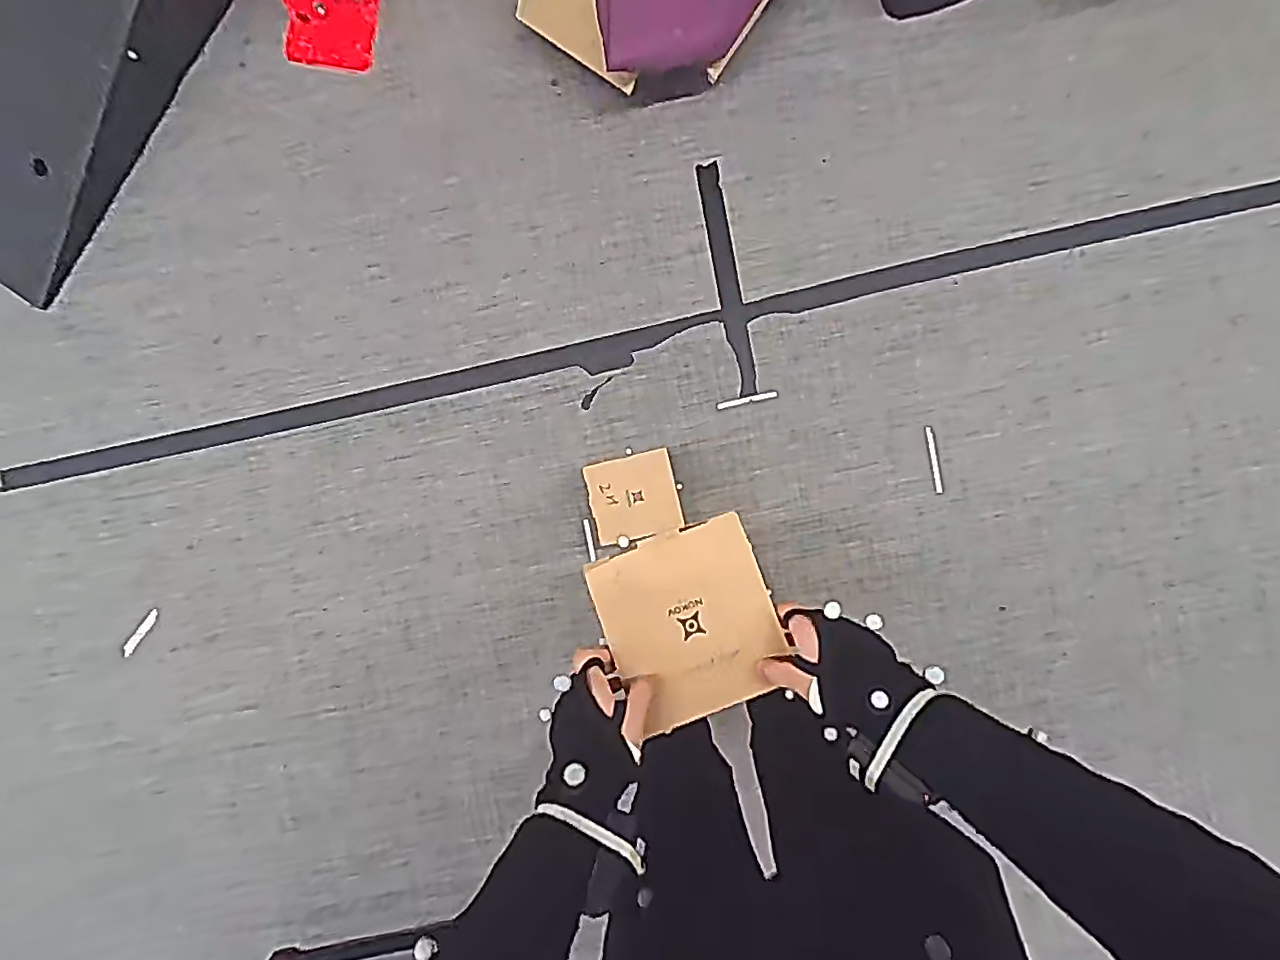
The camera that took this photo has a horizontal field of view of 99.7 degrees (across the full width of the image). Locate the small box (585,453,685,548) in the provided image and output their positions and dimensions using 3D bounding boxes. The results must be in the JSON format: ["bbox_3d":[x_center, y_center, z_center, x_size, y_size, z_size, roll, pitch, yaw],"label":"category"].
[{"bbox_3d":[-0.009,0.037,1.156,0.179,0.176,0.168,-13,91,2],"label":"small box"}]

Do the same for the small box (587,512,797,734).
[{"bbox_3d":[0.049,0.148,0.613,0.168,0.176,0.179,-21,85,-2],"label":"small box"}]
